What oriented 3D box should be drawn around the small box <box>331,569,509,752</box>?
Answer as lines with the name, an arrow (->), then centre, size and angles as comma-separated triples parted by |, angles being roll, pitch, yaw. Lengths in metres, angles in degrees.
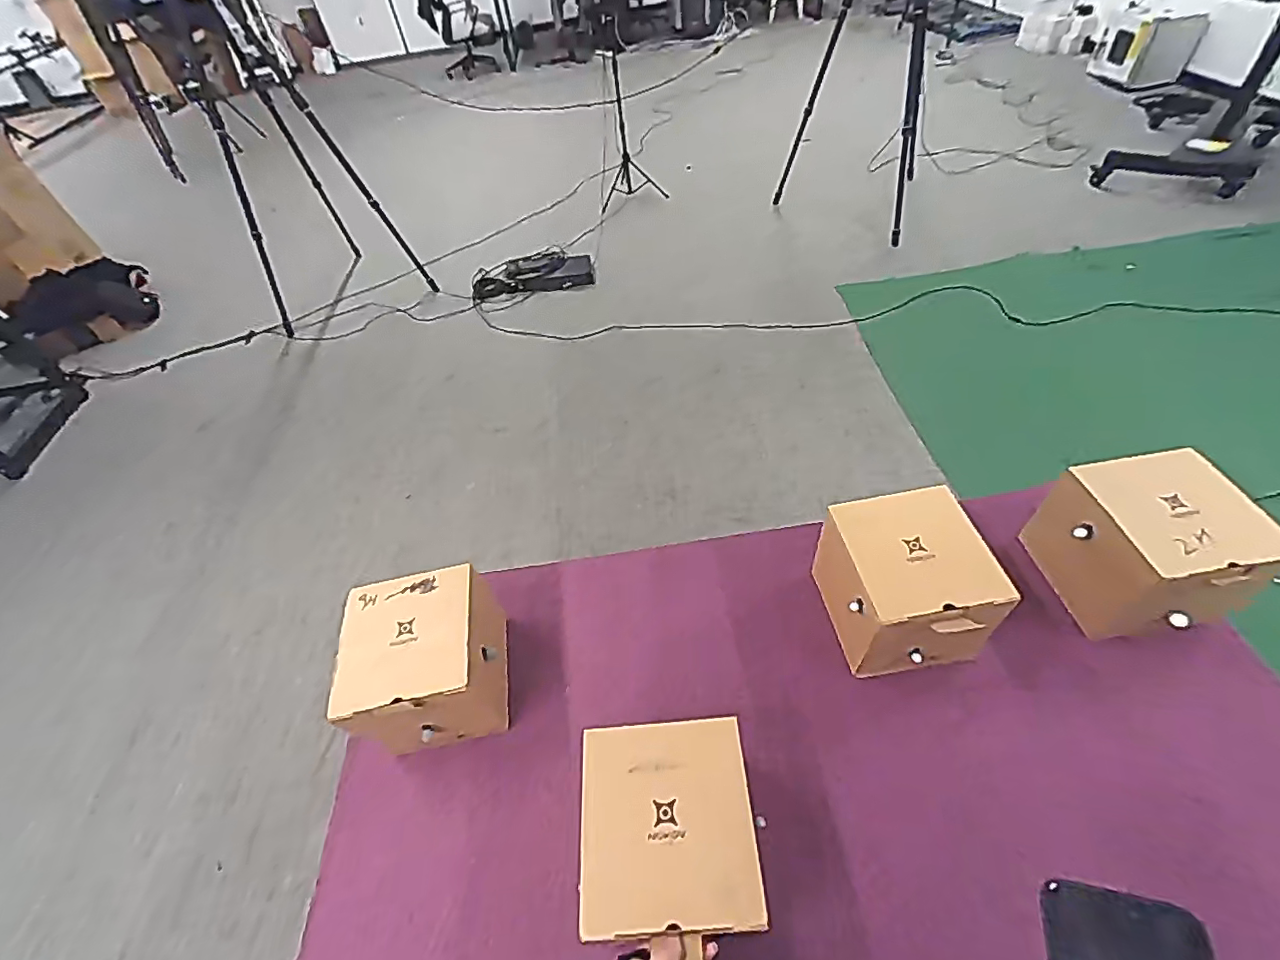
small box -> -0.281, 0.251, 0.733 | 0.168, 0.176, 0.179 | -12, 50, -3

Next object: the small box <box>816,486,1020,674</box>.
small box -> 0.351, 0.137, 0.731 | 0.168, 0.176, 0.179 | -11, 50, 0

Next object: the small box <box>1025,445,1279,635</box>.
small box -> 0.665, 0.082, 0.721 | 0.168, 0.176, 0.179 | -10, 49, 2

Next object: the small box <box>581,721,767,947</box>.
small box -> 0.036, 0.377, 0.575 | 0.168, 0.176, 0.179 | -6, 48, 3
